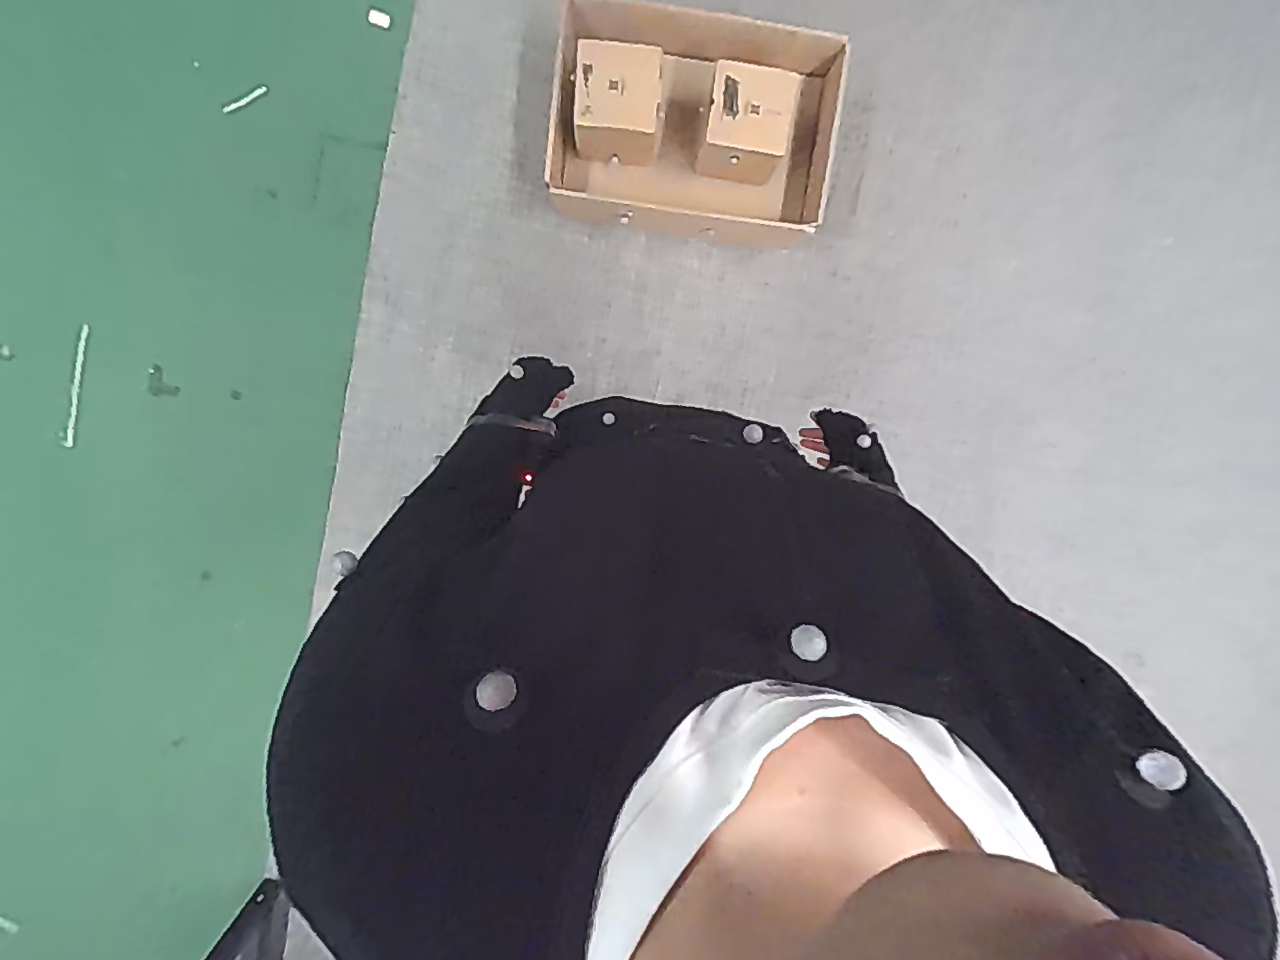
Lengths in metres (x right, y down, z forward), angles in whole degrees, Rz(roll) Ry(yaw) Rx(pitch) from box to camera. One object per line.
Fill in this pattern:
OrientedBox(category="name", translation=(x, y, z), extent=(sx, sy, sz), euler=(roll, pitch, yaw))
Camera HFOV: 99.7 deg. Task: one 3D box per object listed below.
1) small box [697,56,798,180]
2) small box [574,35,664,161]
OrientedBox(category="small box", translation=(0.230, -0.799, 1.213), extent=(0.179, 0.176, 0.168), euler=(8, 99, -3))
OrientedBox(category="small box", translation=(-0.049, -0.833, 1.198), extent=(0.179, 0.176, 0.168), euler=(4, 98, -4))
